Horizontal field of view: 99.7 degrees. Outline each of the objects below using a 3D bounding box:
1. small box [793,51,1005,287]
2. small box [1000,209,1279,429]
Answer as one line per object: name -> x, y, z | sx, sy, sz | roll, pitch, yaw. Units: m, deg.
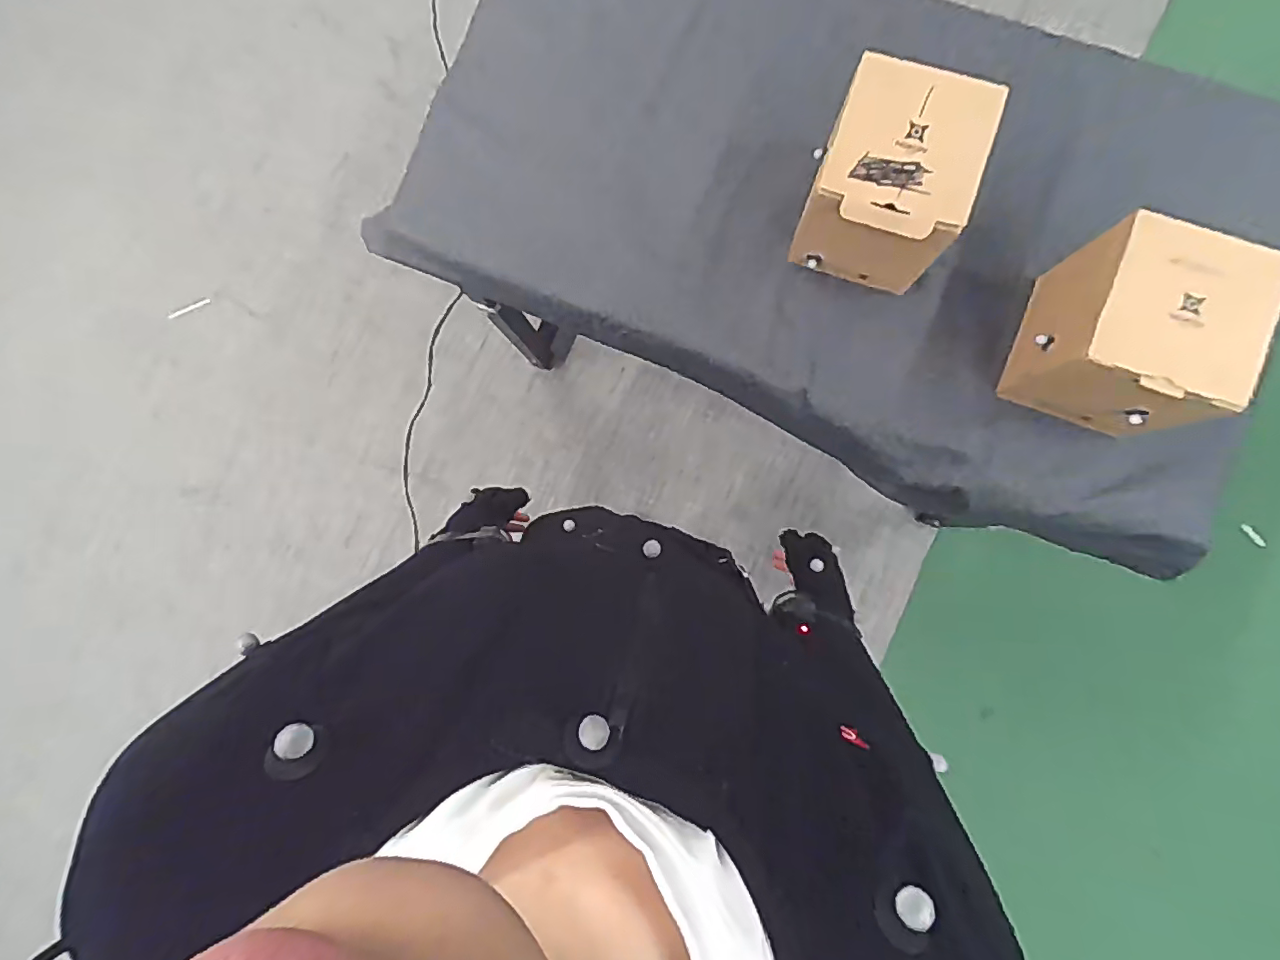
small box -> 0.305, -0.371, 0.678 | 0.168, 0.176, 0.179 | 19, 87, 5
small box -> 0.574, -0.175, 0.645 | 0.168, 0.176, 0.179 | 21, 86, 5
